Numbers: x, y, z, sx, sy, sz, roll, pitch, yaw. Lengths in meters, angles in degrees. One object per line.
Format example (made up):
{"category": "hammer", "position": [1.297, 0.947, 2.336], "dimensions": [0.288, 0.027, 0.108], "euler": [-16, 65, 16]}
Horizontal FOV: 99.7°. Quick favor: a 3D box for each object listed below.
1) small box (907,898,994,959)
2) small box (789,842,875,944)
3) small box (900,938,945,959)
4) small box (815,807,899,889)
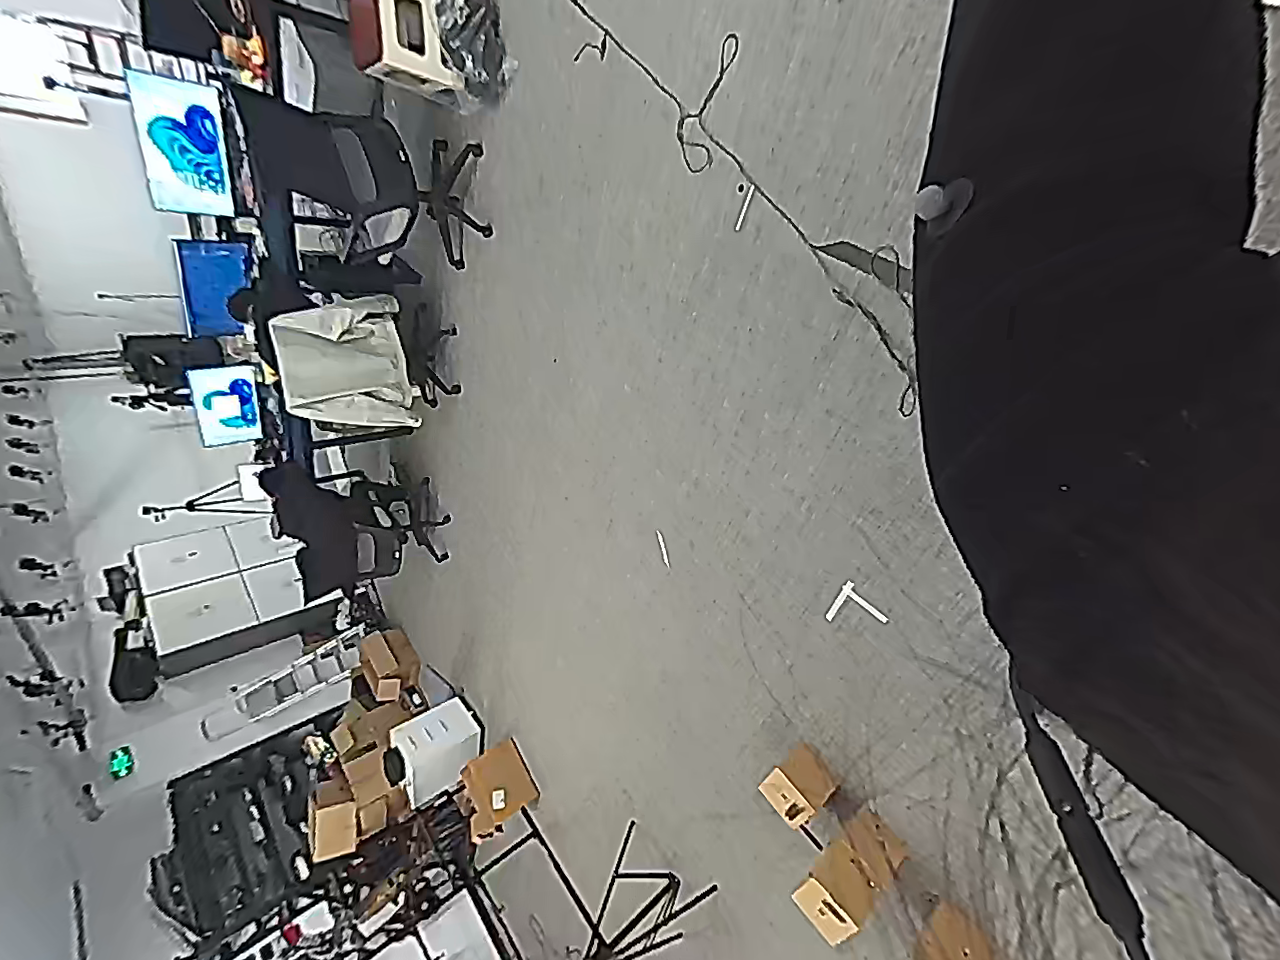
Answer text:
{"category": "small box", "position": [0.937, 1.437, 1.639], "dimensions": [0.179, 0.176, 0.168], "euler": [30, 123, 37]}
{"category": "small box", "position": [0.608, 1.286, 1.696], "dimensions": [0.168, 0.176, 0.179], "euler": [42, 131, 31]}
{"category": "small box", "position": [0.817, 1.472, 1.534], "dimensions": [0.179, 0.176, 0.168], "euler": [33, 124, 38]}
{"category": "small box", "position": [0.727, 1.240, 1.800], "dimensions": [0.168, 0.176, 0.179], "euler": [44, 131, 28]}
